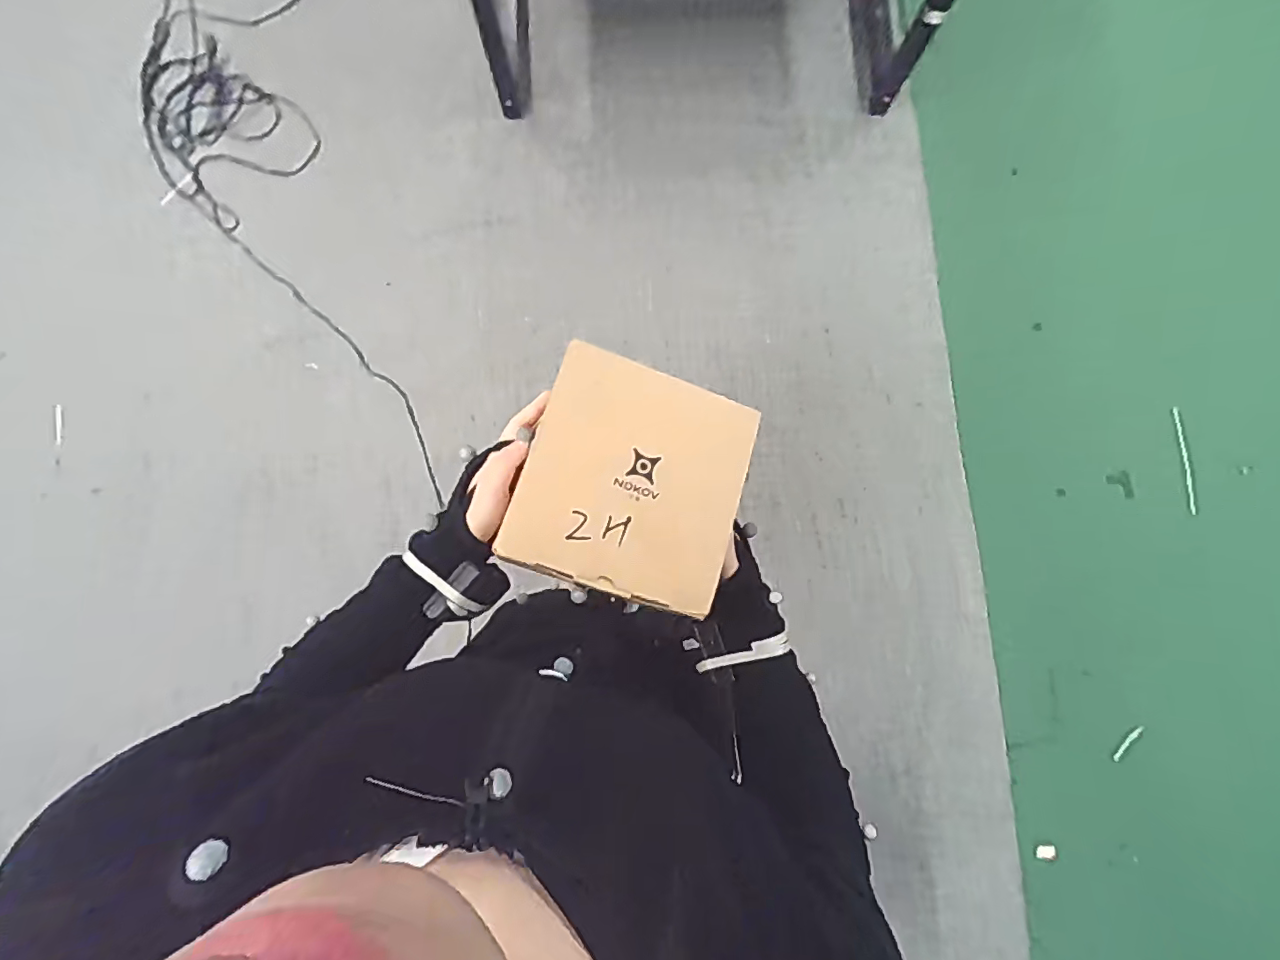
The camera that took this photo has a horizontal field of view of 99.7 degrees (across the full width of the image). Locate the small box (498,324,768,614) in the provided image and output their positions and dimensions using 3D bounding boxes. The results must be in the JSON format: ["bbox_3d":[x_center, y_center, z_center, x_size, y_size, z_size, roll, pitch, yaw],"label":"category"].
[{"bbox_3d":[-0.016,0.004,0.469,0.168,0.176,0.179,20,76,-9],"label":"small box"}]
